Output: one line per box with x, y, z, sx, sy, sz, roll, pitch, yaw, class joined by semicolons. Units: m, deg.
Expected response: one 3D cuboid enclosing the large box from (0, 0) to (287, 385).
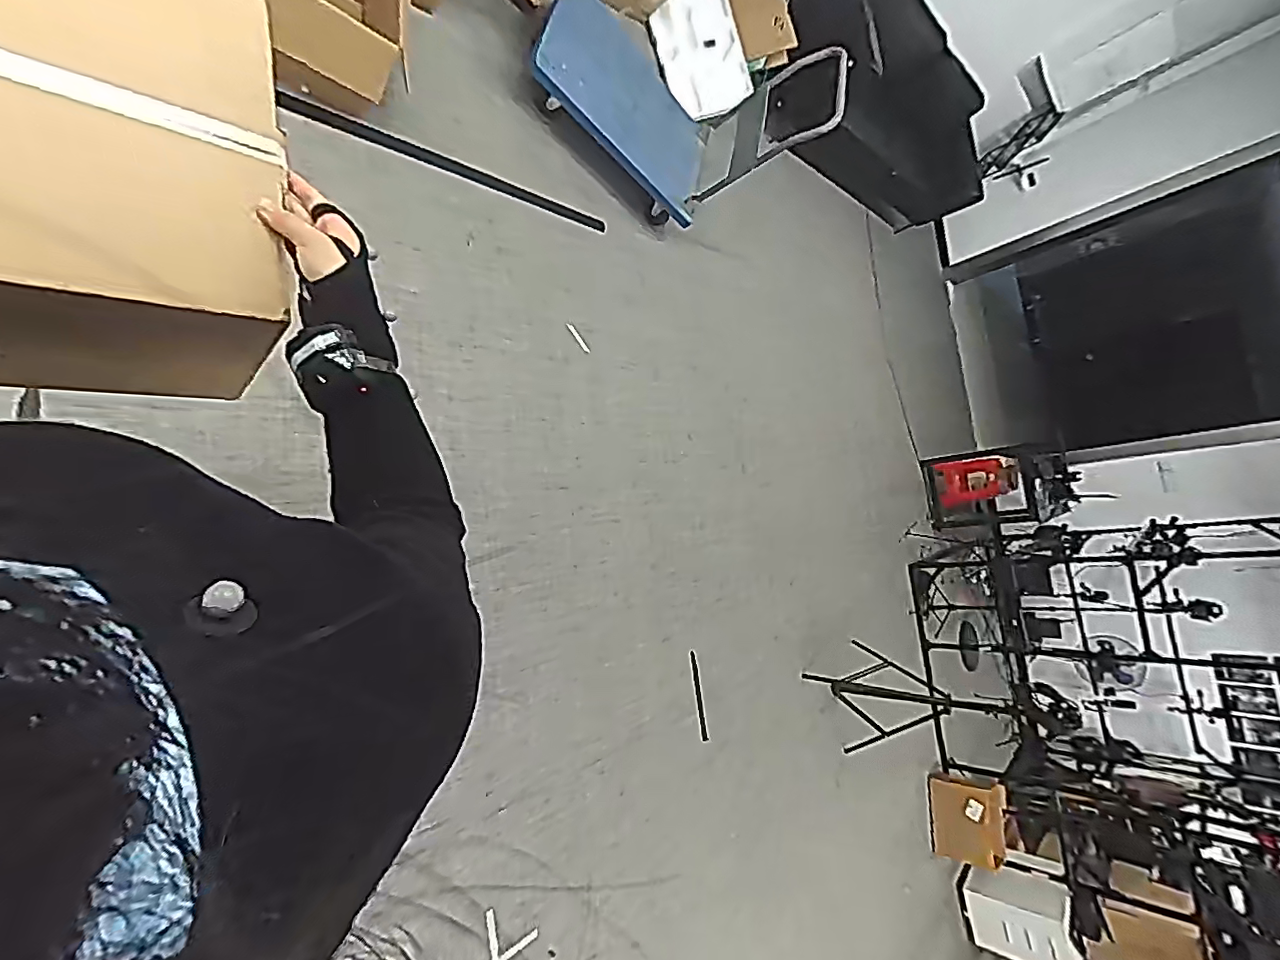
-0.587;-0.275;0.473;0.408;0.320;0.320;-4;85;-44;large box
